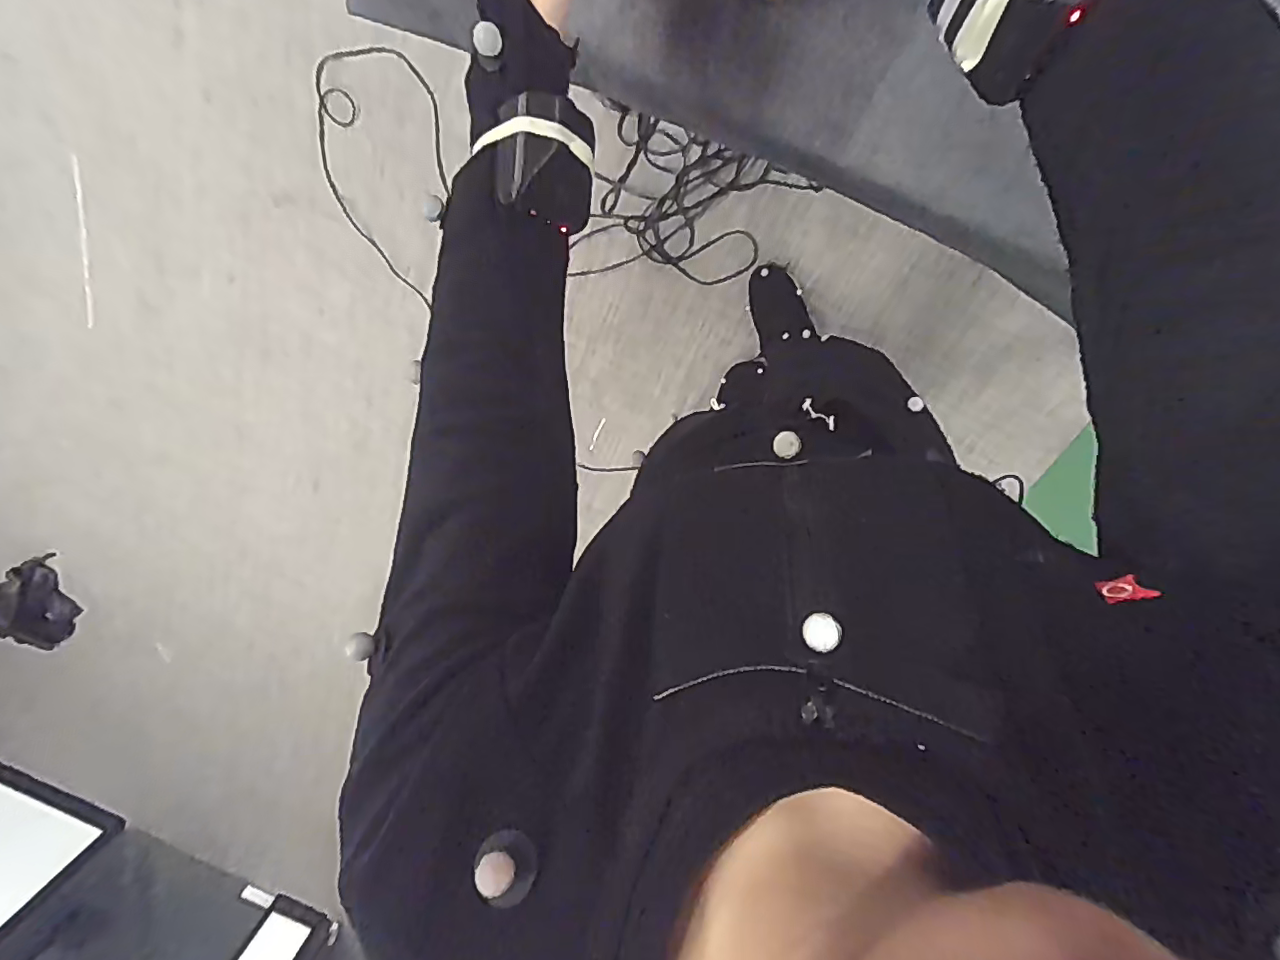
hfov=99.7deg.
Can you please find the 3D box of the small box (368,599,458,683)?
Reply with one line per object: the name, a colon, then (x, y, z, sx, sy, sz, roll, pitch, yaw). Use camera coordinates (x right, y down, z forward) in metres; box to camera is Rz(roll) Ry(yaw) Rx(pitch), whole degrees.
small box: (-0.735, 0.514, 1.764, 0.179, 0.176, 0.168, 40, 116, -9)
